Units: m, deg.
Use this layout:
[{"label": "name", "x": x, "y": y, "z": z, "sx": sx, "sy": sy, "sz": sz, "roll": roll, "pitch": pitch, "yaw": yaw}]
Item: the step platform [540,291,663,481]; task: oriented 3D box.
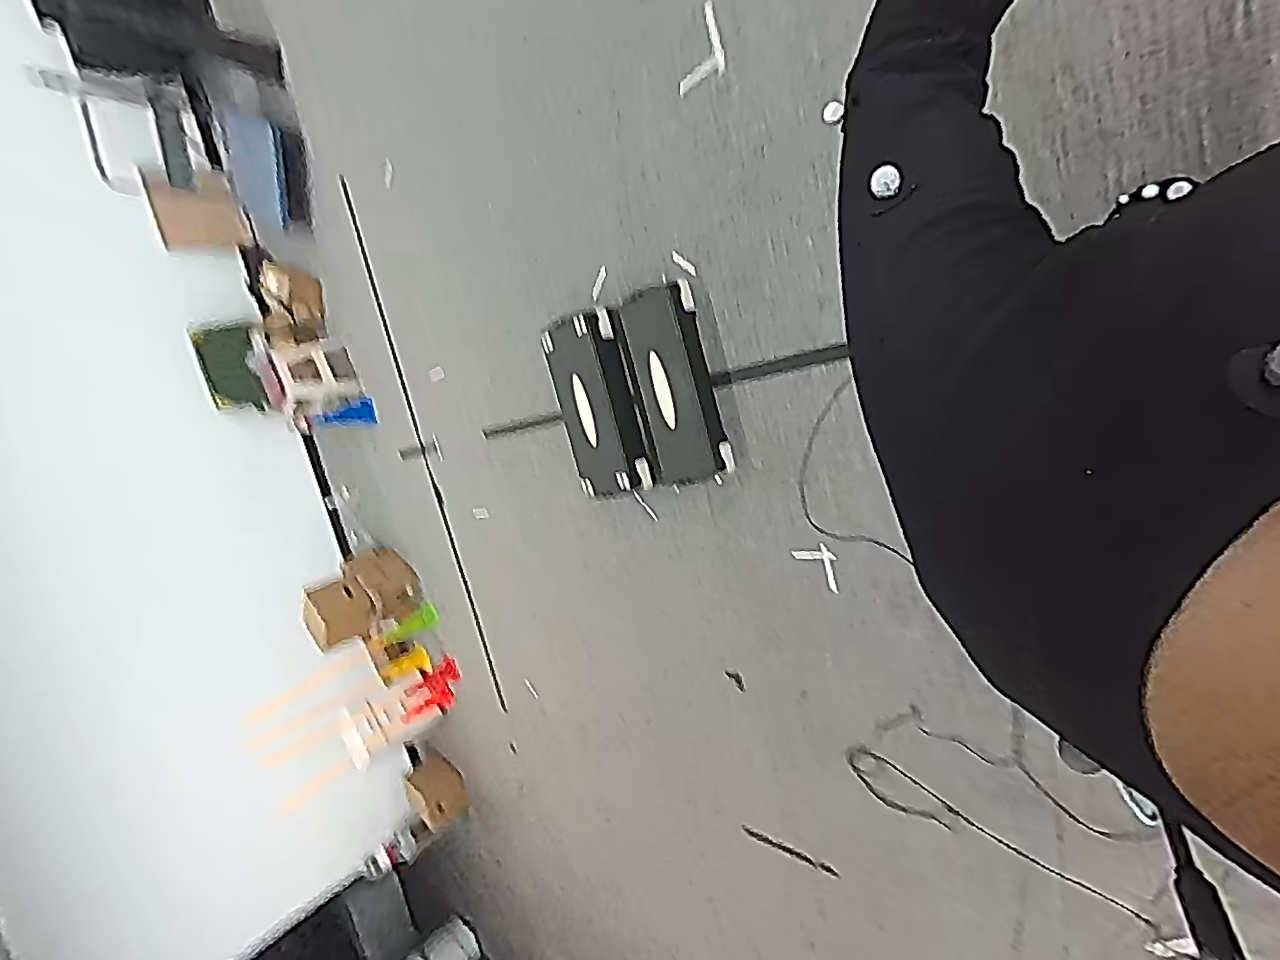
[{"label": "step platform", "x": -0.146, "y": -0.337, "z": 2.016, "sx": 0.286, "sy": 0.204, "sz": 0.684, "roll": -9, "pitch": 98, "yaw": 44}]
